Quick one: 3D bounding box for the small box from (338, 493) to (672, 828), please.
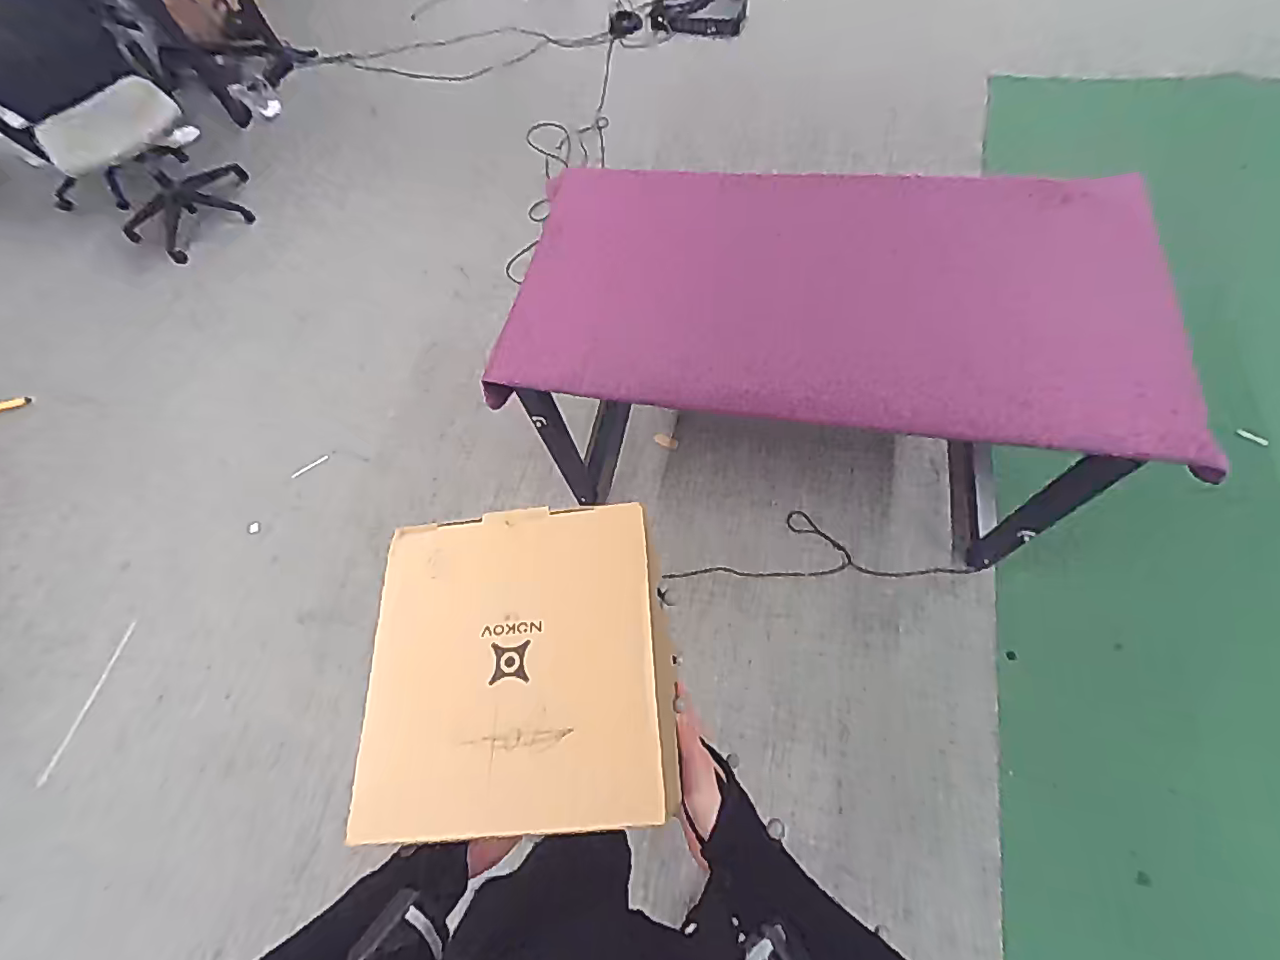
[{"bbox_3d":[-0.068,0.128,0.377,0.168,0.176,0.179,-6,64,4],"label":"small box"}]
